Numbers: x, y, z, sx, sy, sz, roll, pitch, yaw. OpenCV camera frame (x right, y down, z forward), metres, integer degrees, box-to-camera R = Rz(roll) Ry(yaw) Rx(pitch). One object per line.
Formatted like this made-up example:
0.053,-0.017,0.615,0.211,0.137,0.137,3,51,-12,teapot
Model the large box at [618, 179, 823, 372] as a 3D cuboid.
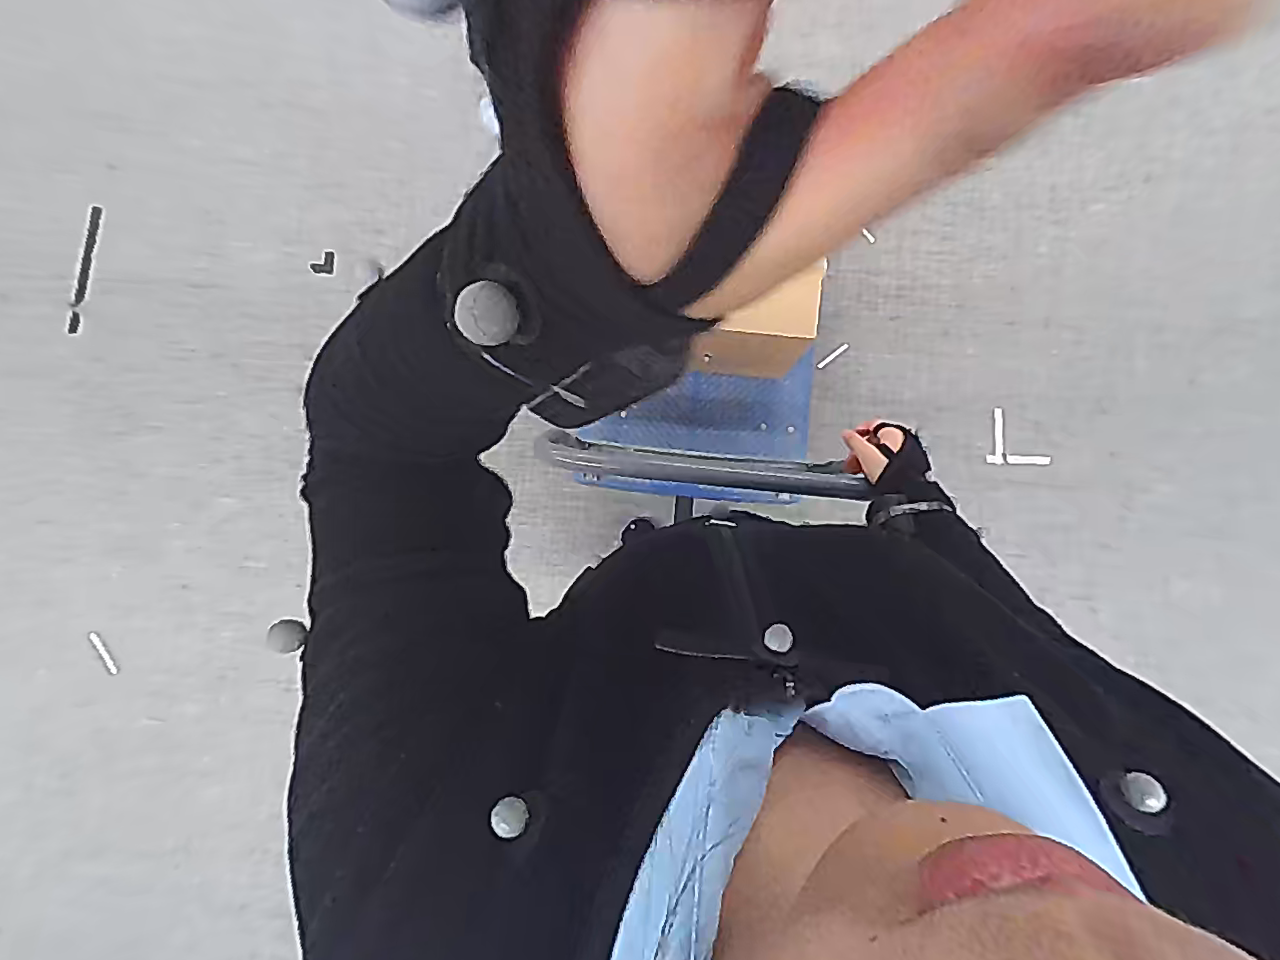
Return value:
0.174,-0.449,1.251,0.408,0.320,0.320,6,85,3,large box
